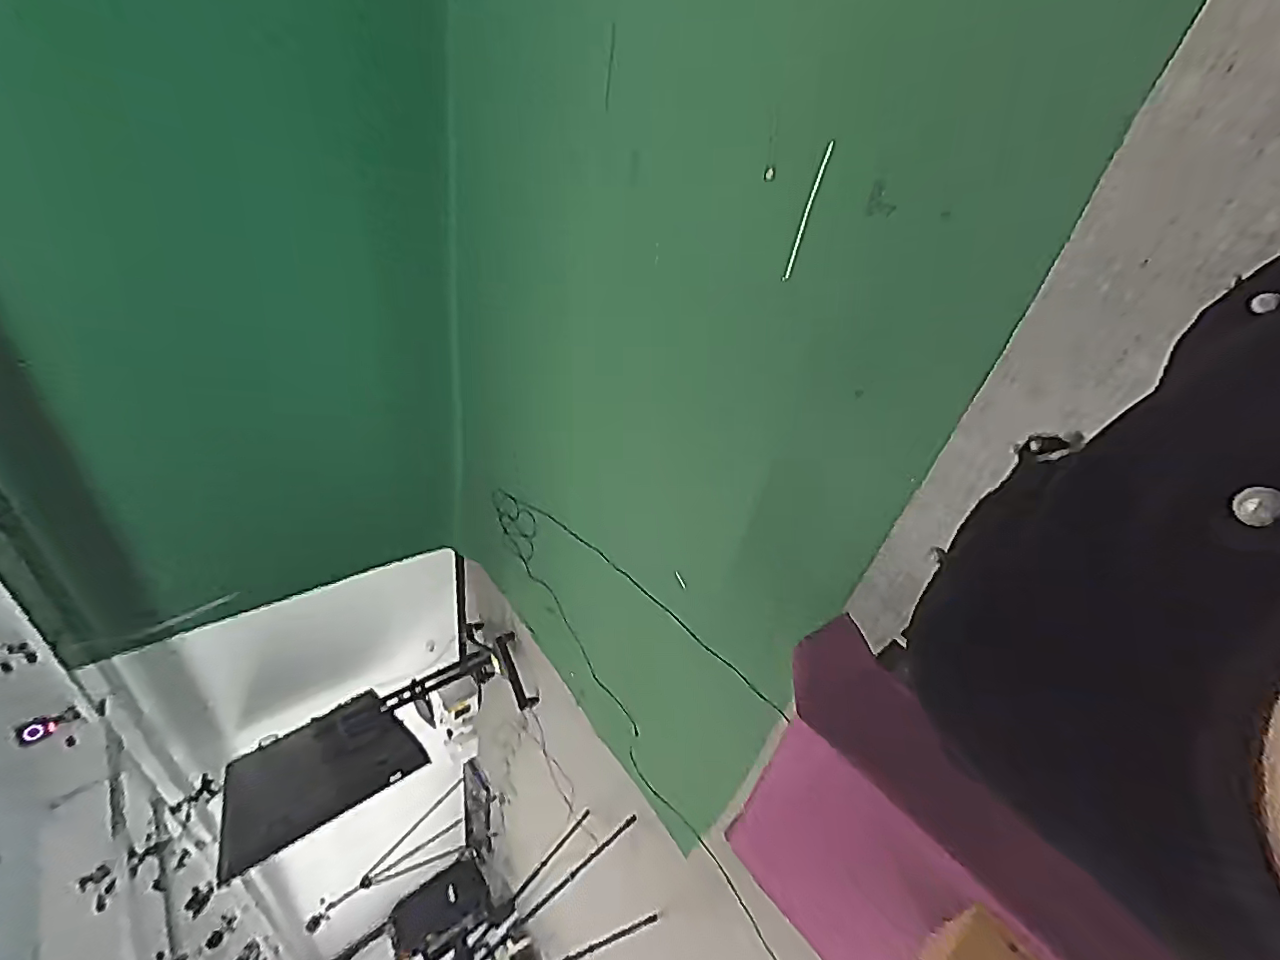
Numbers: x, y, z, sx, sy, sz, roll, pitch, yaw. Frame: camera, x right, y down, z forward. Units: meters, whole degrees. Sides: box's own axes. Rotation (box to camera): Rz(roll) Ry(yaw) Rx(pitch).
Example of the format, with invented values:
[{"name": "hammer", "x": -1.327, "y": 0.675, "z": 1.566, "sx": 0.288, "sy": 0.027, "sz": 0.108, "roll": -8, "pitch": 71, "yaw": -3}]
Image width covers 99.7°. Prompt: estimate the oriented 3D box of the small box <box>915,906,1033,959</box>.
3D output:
[{"name": "small box", "x": 0.541, "y": 0.835, "z": 0.861, "sx": 0.168, "sy": 0.176, "sz": 0.179, "roll": 41, "pitch": 134, "yaw": 34}]
